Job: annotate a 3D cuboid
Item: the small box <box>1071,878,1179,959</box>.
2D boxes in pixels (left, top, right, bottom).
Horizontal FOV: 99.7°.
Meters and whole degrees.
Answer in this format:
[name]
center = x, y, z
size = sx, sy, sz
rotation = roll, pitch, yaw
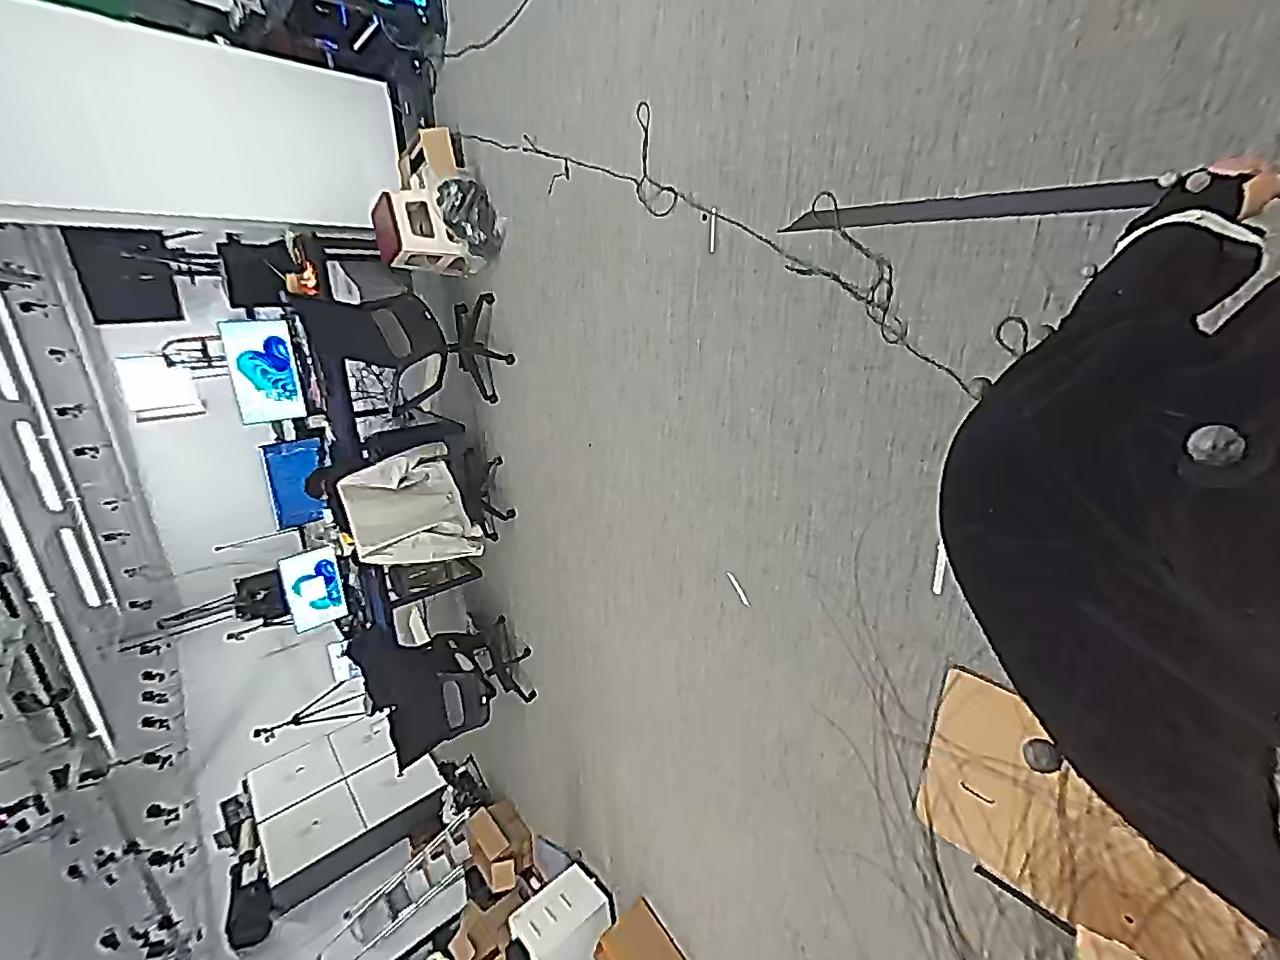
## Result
[small box]
center = 1.163, 1.121, 1.298
size = 0.168, 0.176, 0.179
rotation = 12, 112, 47
